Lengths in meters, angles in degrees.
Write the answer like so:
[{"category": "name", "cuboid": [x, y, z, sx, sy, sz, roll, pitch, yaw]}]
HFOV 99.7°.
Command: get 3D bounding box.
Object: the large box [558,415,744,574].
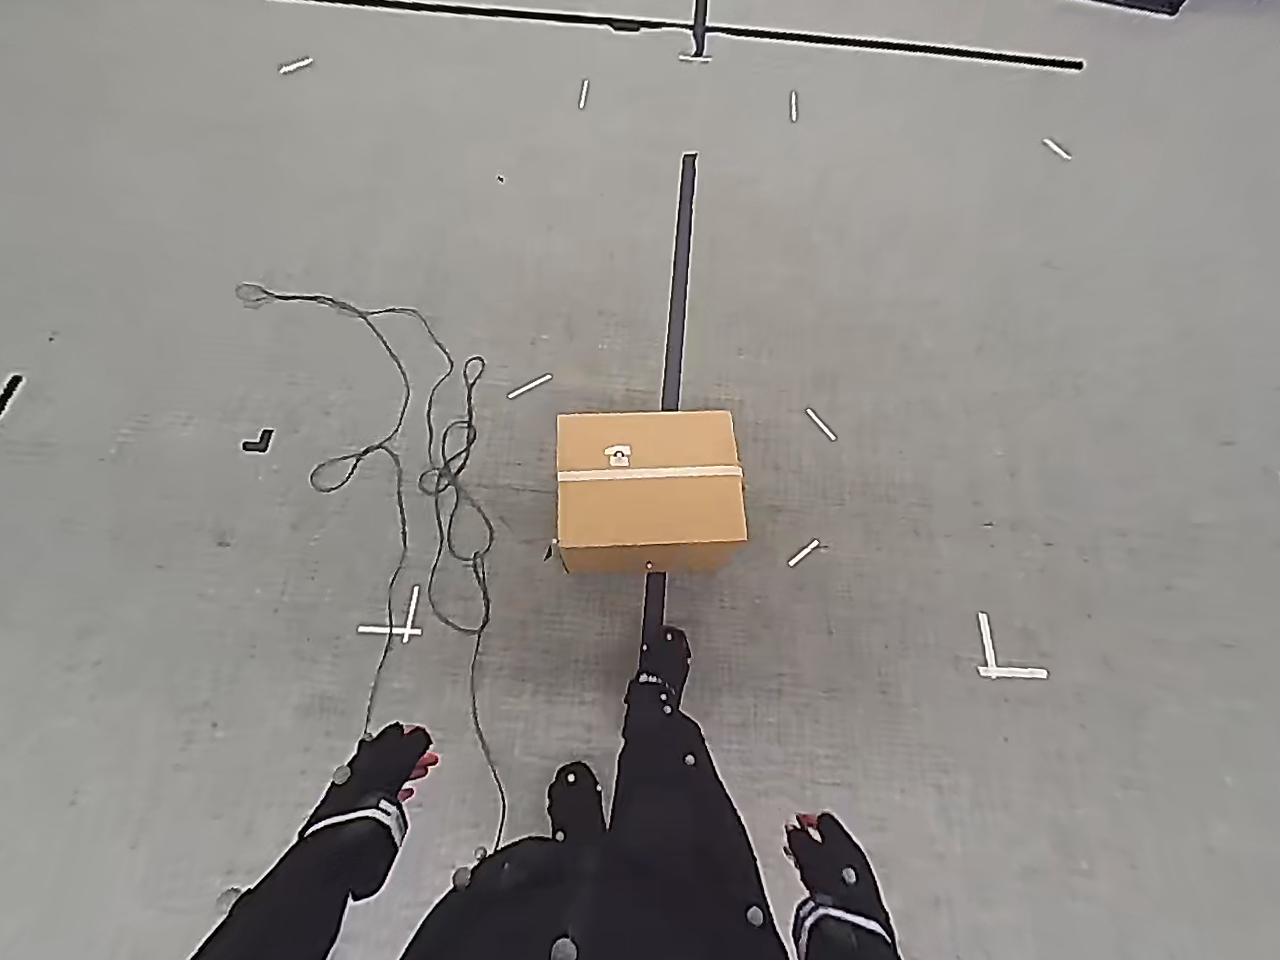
[{"category": "large box", "cuboid": [0.016, 0.050, 1.336, 0.408, 0.320, 0.320, -2, 69, -2]}]
